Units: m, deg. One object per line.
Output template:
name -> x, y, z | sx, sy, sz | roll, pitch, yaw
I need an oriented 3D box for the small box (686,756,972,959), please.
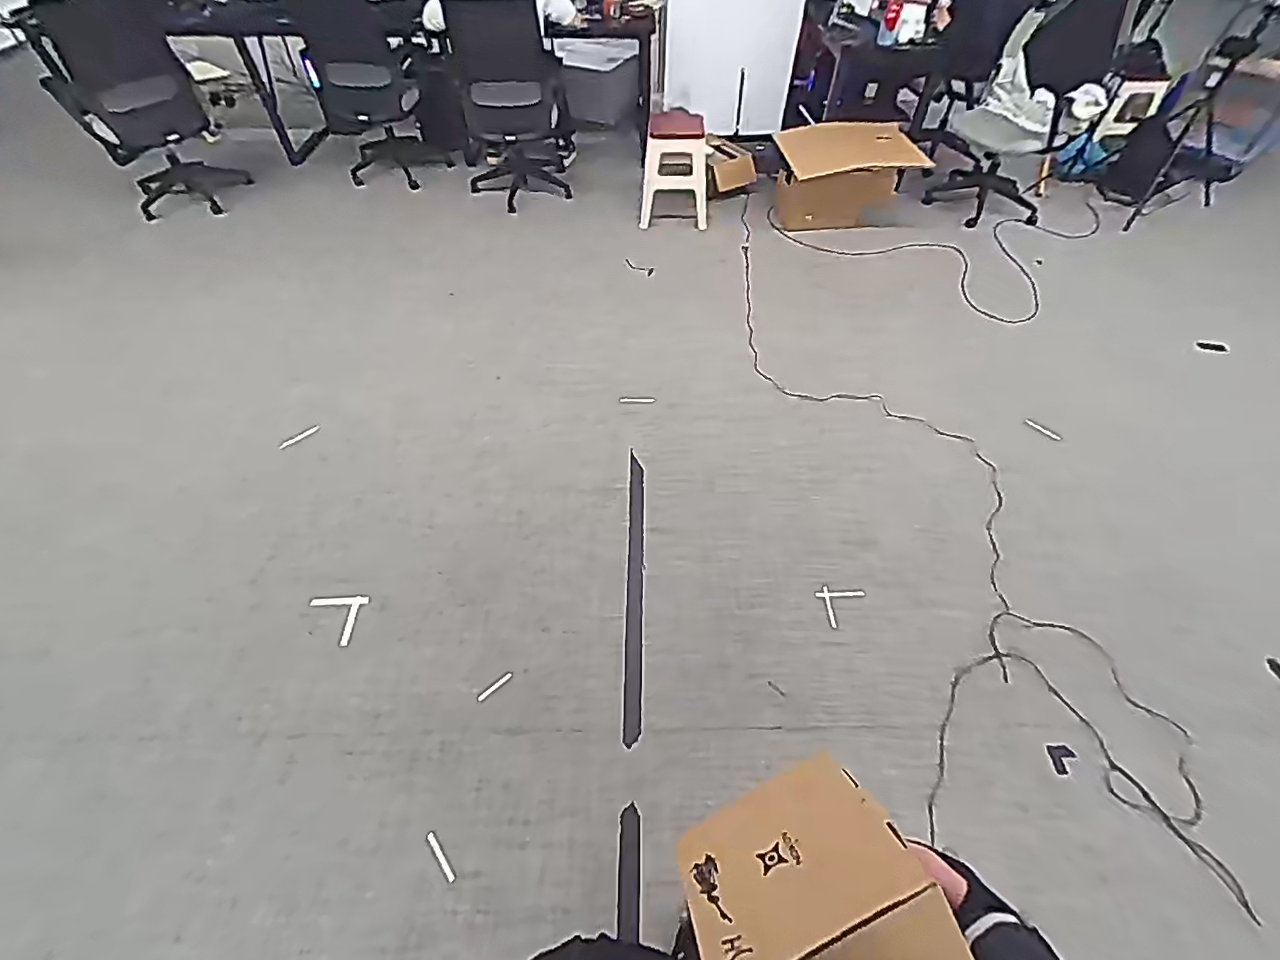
small box -> 0.164, 0.390, 0.466 | 0.179, 0.168, 0.176 | -26, 95, -4
